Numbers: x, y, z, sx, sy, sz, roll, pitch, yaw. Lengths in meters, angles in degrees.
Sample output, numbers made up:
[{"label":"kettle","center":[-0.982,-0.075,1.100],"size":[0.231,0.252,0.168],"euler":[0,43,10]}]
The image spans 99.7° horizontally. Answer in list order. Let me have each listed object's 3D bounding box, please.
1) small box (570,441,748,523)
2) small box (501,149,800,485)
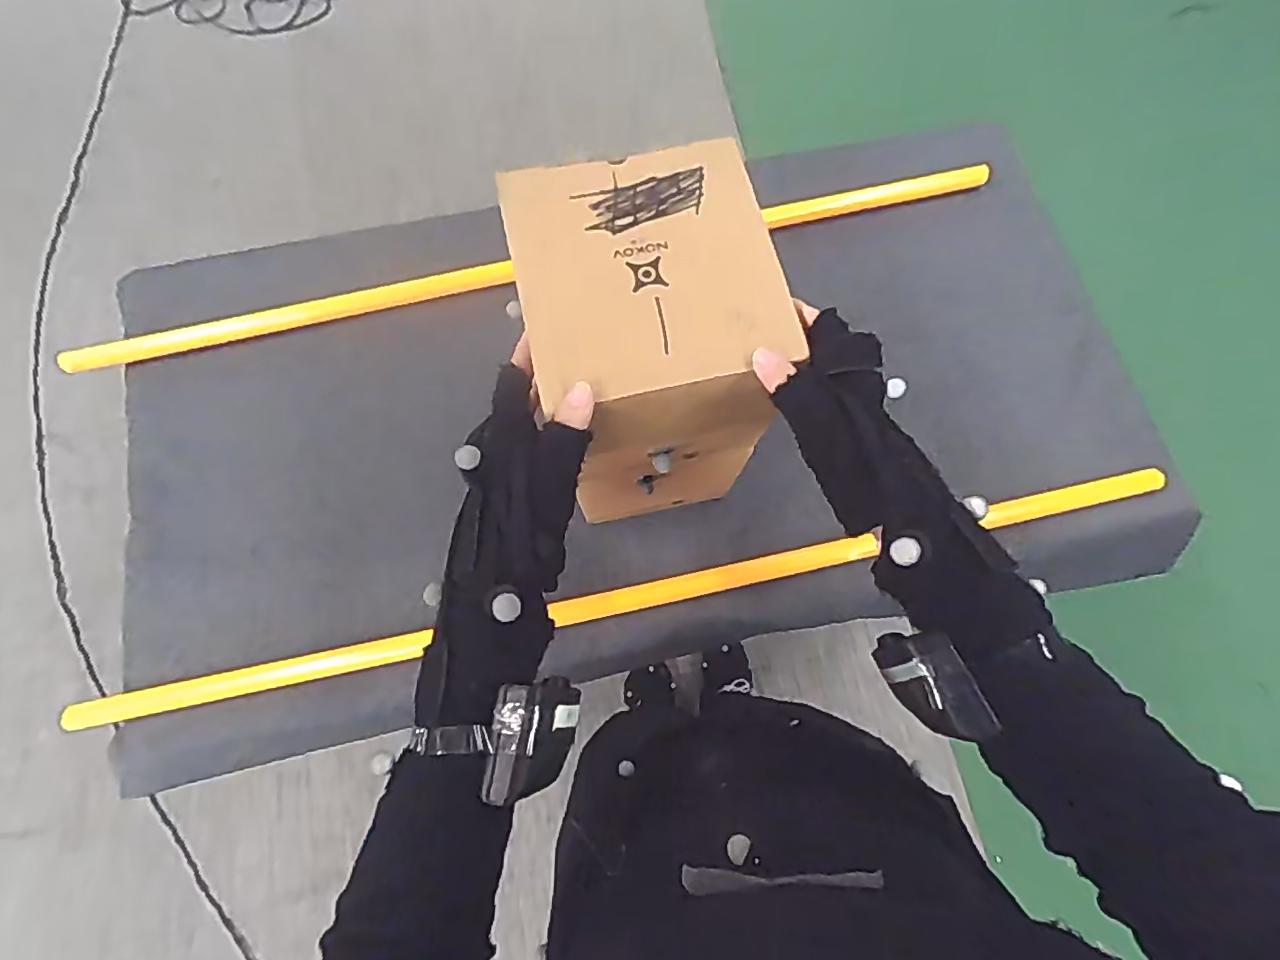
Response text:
[{"label":"small box","center":[0.001,-0.067,0.584],"size":[0.168,0.176,0.179],"euler":[-12,74,-3]},{"label":"small box","center":[0.000,-0.113,0.426],"size":[0.168,0.176,0.179],"euler":[-13,75,-4]}]
